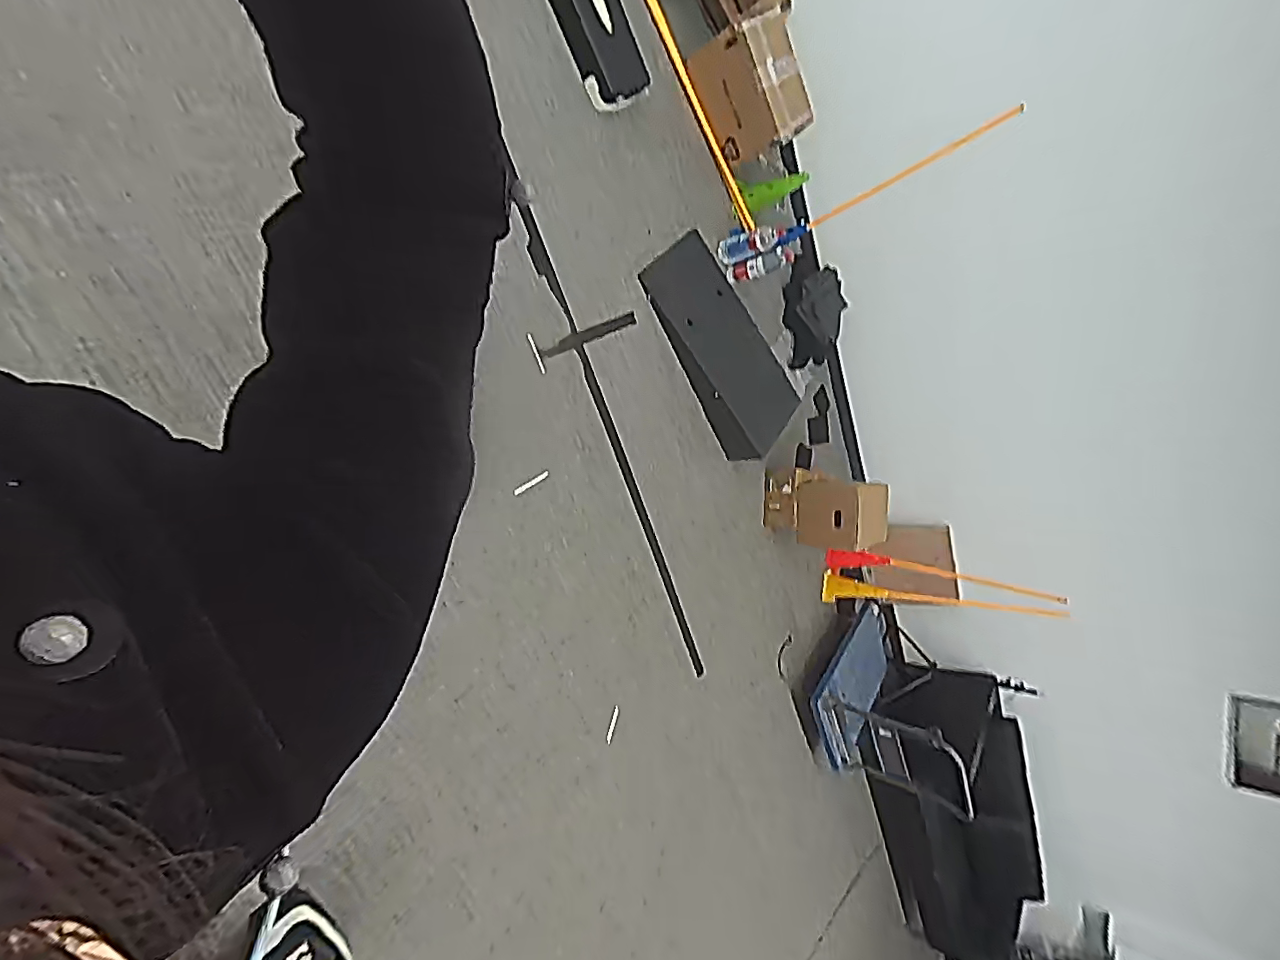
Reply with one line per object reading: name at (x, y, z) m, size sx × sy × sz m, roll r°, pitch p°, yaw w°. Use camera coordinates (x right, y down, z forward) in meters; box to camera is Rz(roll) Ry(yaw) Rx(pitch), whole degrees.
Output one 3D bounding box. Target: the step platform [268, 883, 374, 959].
step platform at (-0.914, 1.243, 1.114) m, size 0.684 × 0.204 × 0.286 m, roll -30°, pitch 110°, yaw -43°
